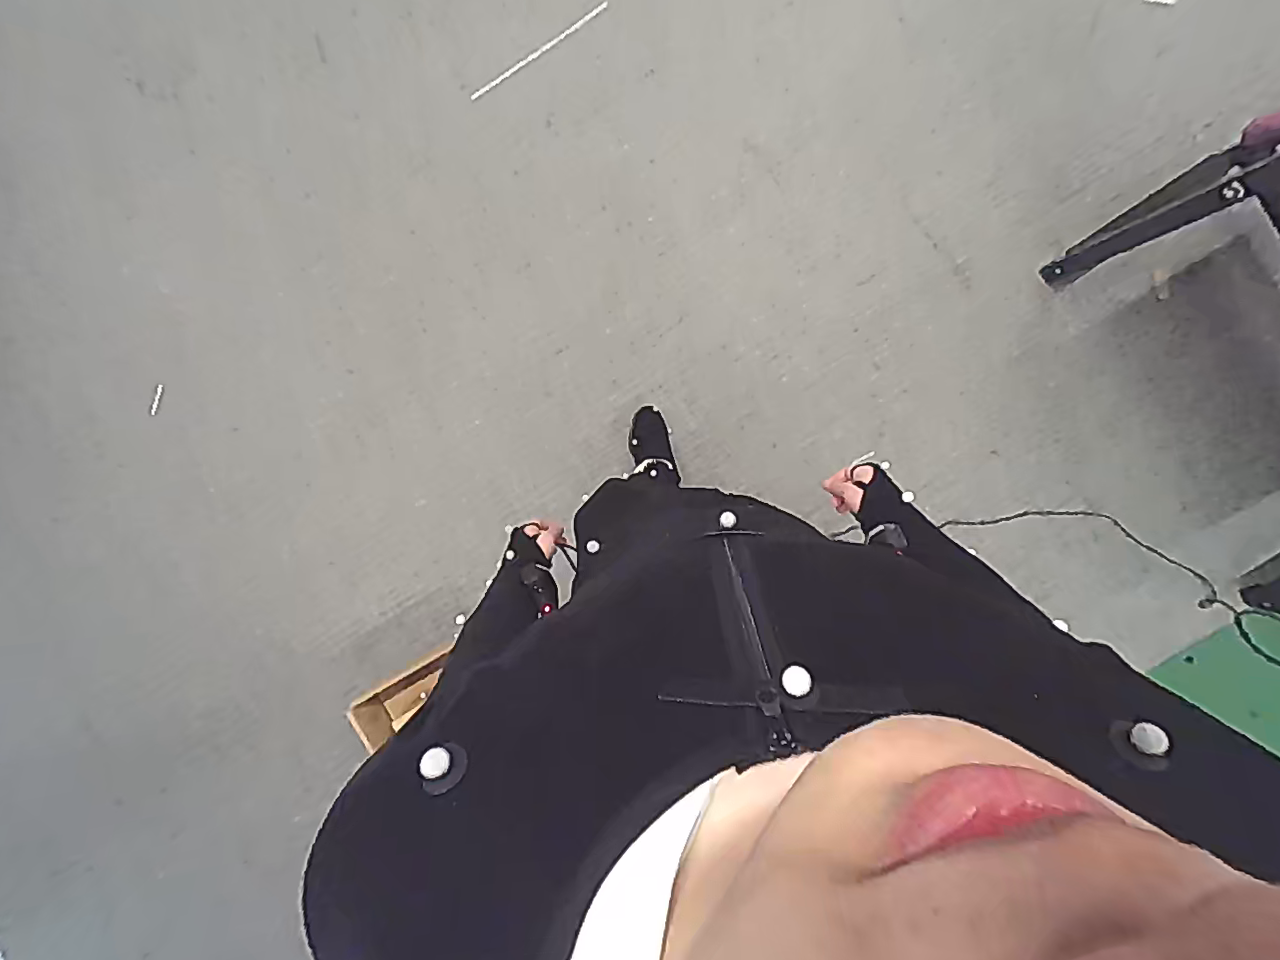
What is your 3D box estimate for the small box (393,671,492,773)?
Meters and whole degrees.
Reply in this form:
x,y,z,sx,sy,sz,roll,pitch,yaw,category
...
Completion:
x,y,z,sx,sy,sz,roll,pitch,yaw,category
-0.553,0.680,1.539,0.179,0.176,0.168,-33,91,1,small box
